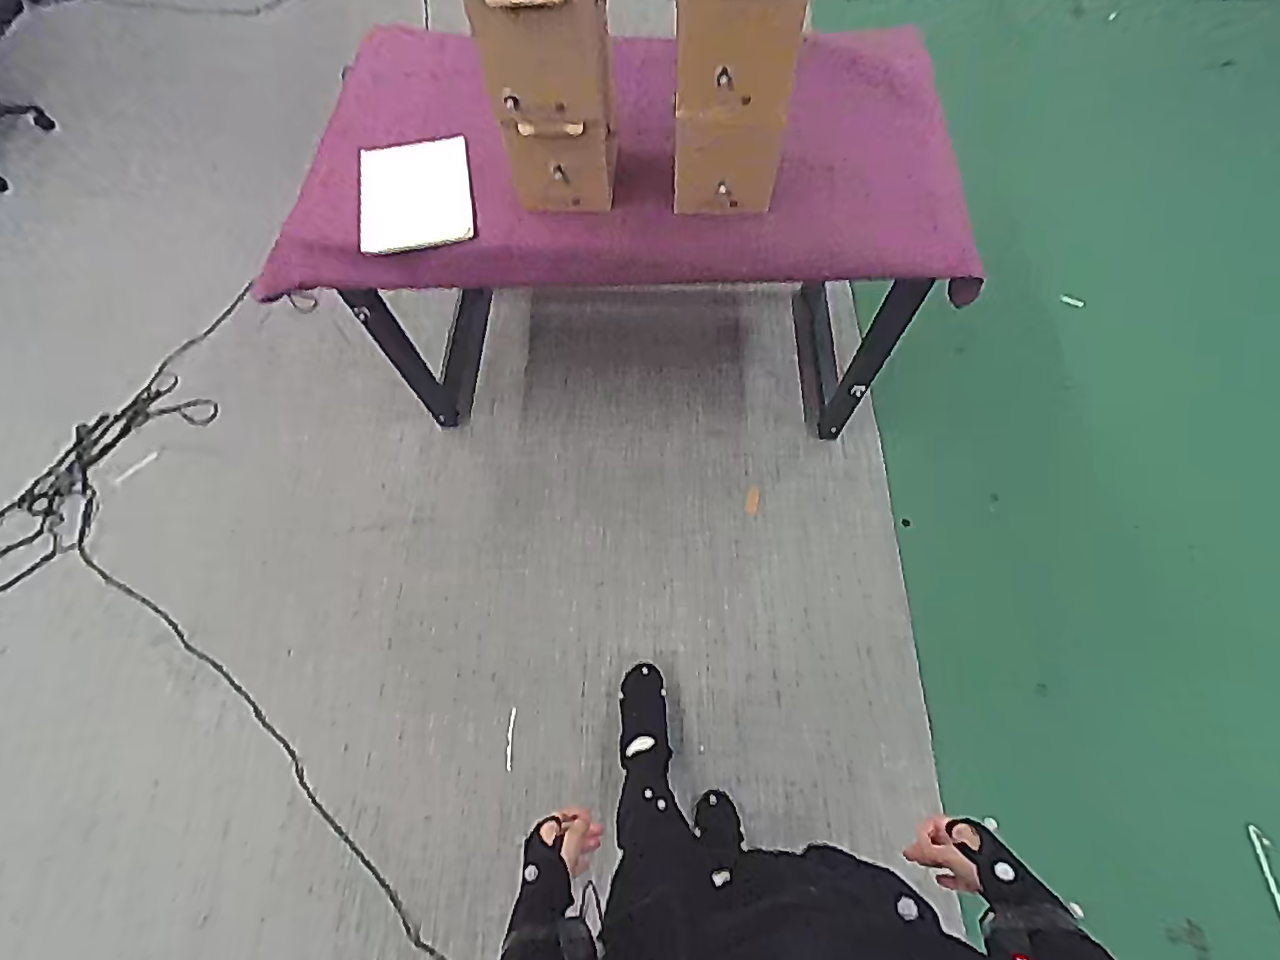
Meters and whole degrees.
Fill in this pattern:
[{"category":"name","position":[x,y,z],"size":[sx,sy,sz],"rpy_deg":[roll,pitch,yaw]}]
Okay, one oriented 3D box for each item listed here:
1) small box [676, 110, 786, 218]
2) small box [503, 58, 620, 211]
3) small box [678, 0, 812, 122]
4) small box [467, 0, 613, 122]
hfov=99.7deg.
[{"category":"small box","position":[0.149,-0.581,0.925],"size":[0.168,0.176,0.179],"rpy_deg":[2,66,5]},{"category":"small box","position":[-0.126,-0.596,0.943],"size":[0.168,0.176,0.179],"rpy_deg":[2,67,3]},{"category":"small box","position":[0.142,-0.654,0.779],"size":[0.168,0.176,0.179],"rpy_deg":[3,66,3]},{"category":"small box","position":[-0.132,-0.656,0.789],"size":[0.168,0.176,0.179],"rpy_deg":[3,66,3]}]
